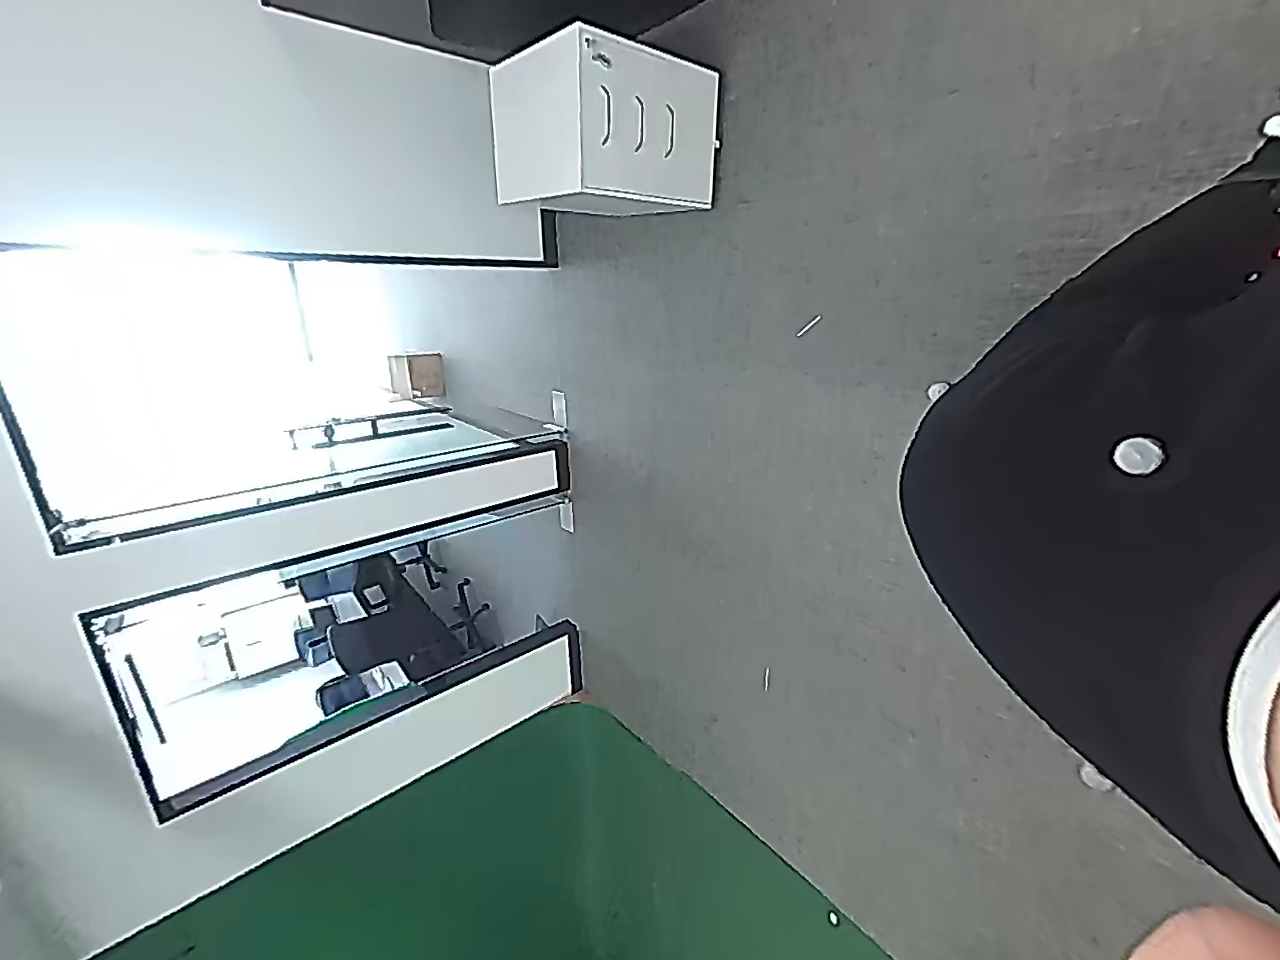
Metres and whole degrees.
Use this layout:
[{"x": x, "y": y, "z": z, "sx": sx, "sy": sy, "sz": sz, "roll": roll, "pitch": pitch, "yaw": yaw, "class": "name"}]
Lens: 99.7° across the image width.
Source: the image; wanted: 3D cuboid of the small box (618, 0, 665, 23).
[{"x": 0.015, "y": -1.609, "z": 1.713, "sx": 0.179, "sy": 0.176, "sz": 0.168, "roll": -44, "pitch": 21, "yaw": 52, "class": "small box"}]
